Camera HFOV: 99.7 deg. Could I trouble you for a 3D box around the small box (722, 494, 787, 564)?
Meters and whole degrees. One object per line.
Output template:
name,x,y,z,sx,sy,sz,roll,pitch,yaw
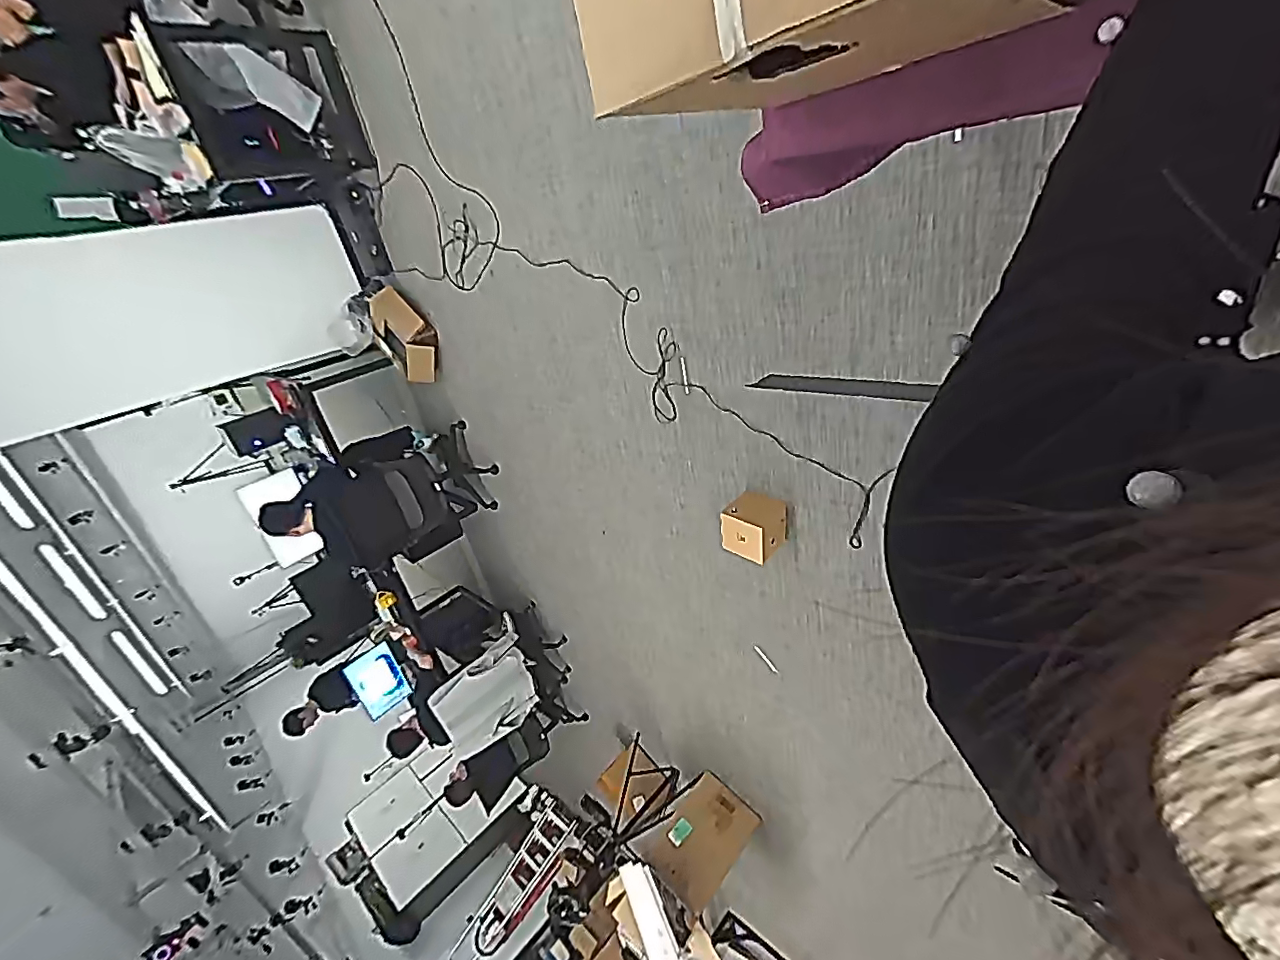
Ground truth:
small box,0.421,0.170,1.965,0.179,0.176,0.168,21,132,39
